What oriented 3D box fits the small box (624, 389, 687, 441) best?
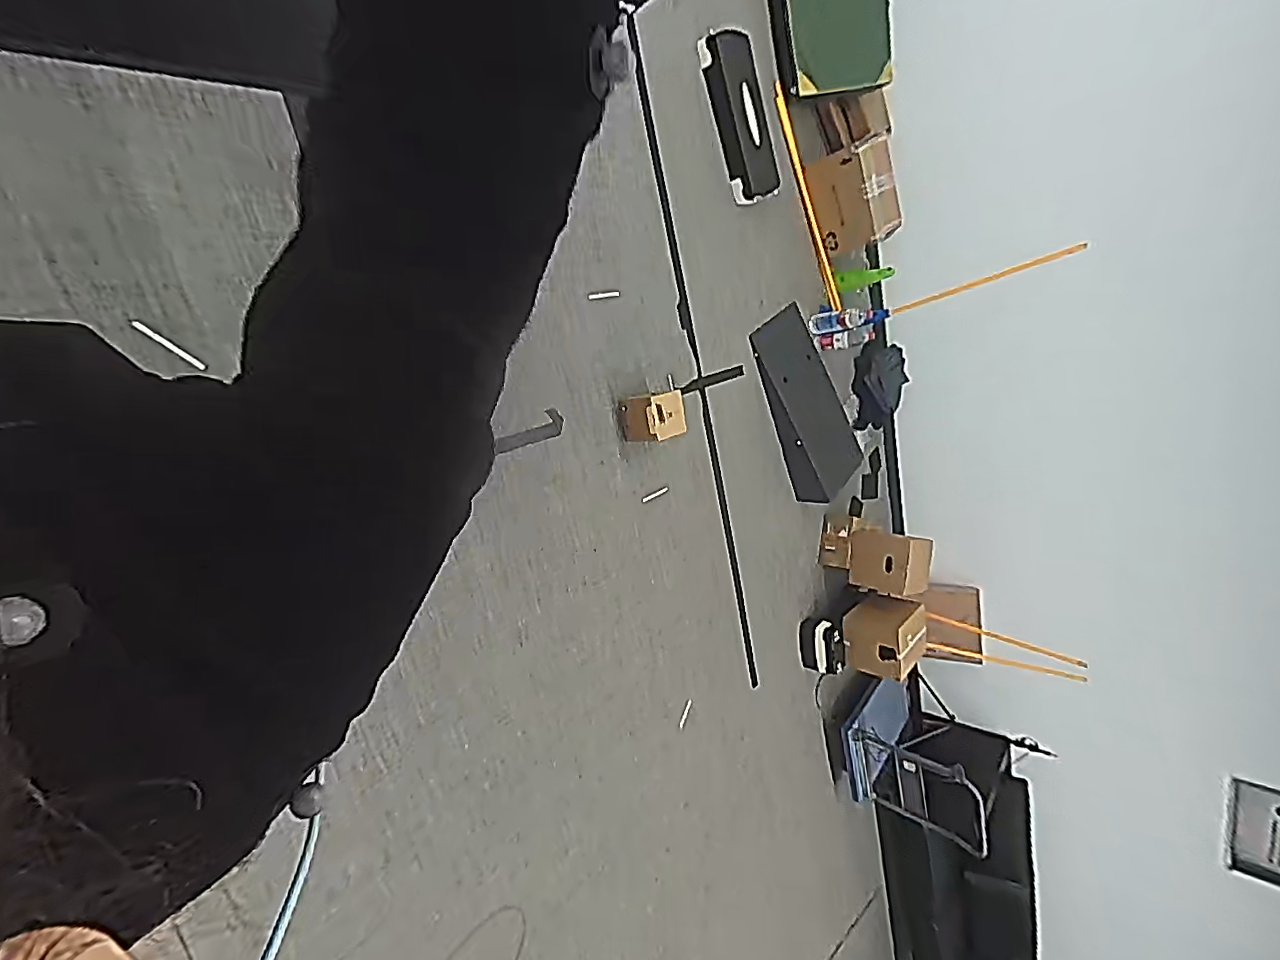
[{"bbox_3d":[0.053,-0.246,2.066,0.179,0.176,0.168,-23,108,-42],"label":"small box"}]
